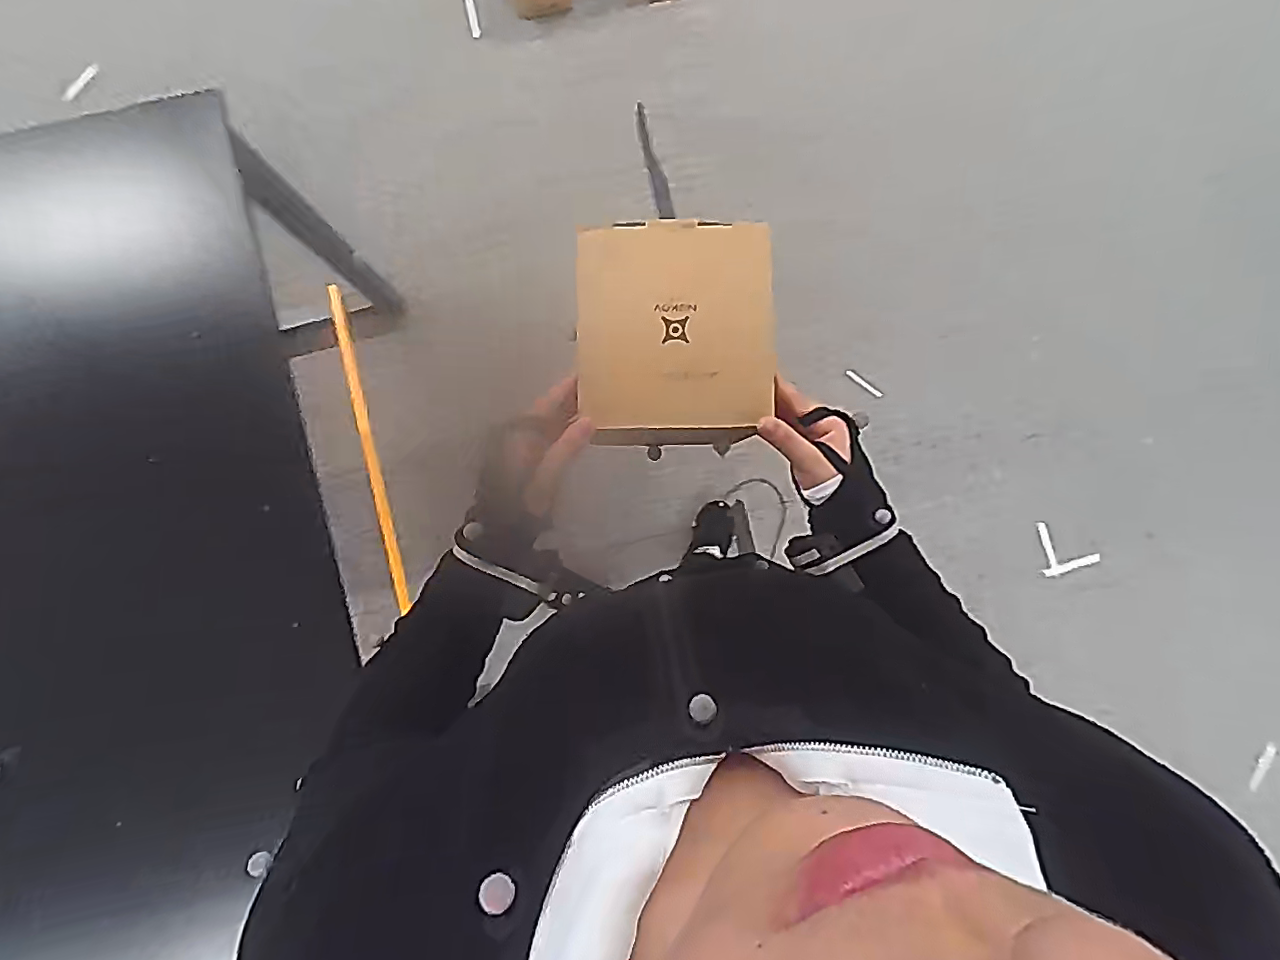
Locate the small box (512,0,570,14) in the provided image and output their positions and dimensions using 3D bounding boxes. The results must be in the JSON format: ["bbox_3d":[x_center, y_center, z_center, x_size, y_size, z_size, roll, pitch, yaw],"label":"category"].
[{"bbox_3d":[-0.294,-1.438,1.491,0.168,0.176,0.179,-15,89,-3],"label":"small box"}]

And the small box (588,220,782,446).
[{"bbox_3d":[0.035,-0.129,0.533,0.168,0.176,0.179,-1,89,-1],"label":"small box"}]
